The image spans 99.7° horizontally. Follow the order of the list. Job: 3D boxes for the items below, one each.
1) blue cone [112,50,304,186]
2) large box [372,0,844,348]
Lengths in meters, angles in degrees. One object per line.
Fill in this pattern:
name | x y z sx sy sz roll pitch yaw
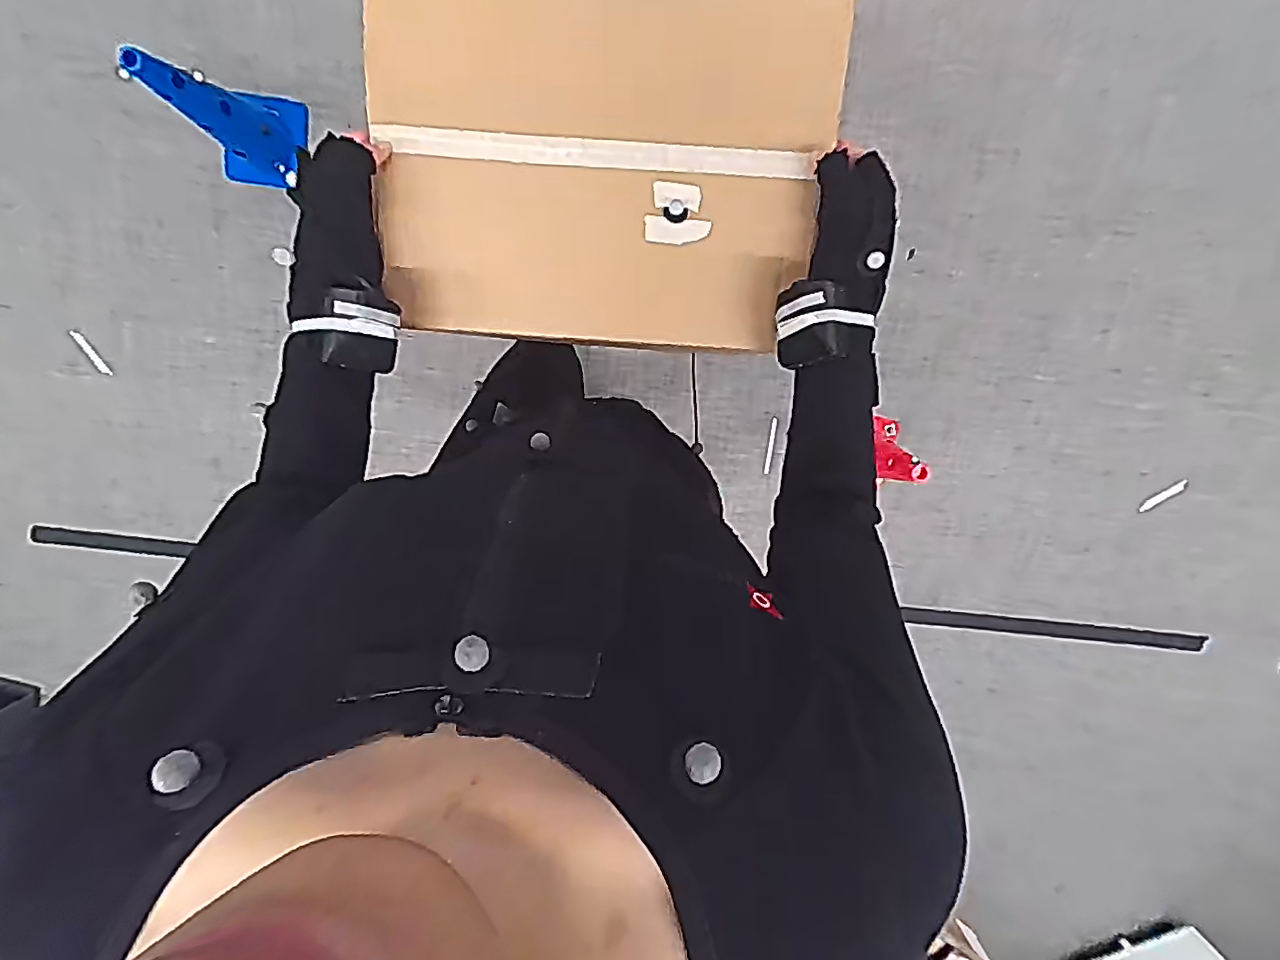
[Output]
blue cone | -0.920 -0.793 1.157 0.192 0.380 0.193 10 101 0
large box | -0.035 -0.323 0.622 0.408 0.320 0.320 3 103 -2
